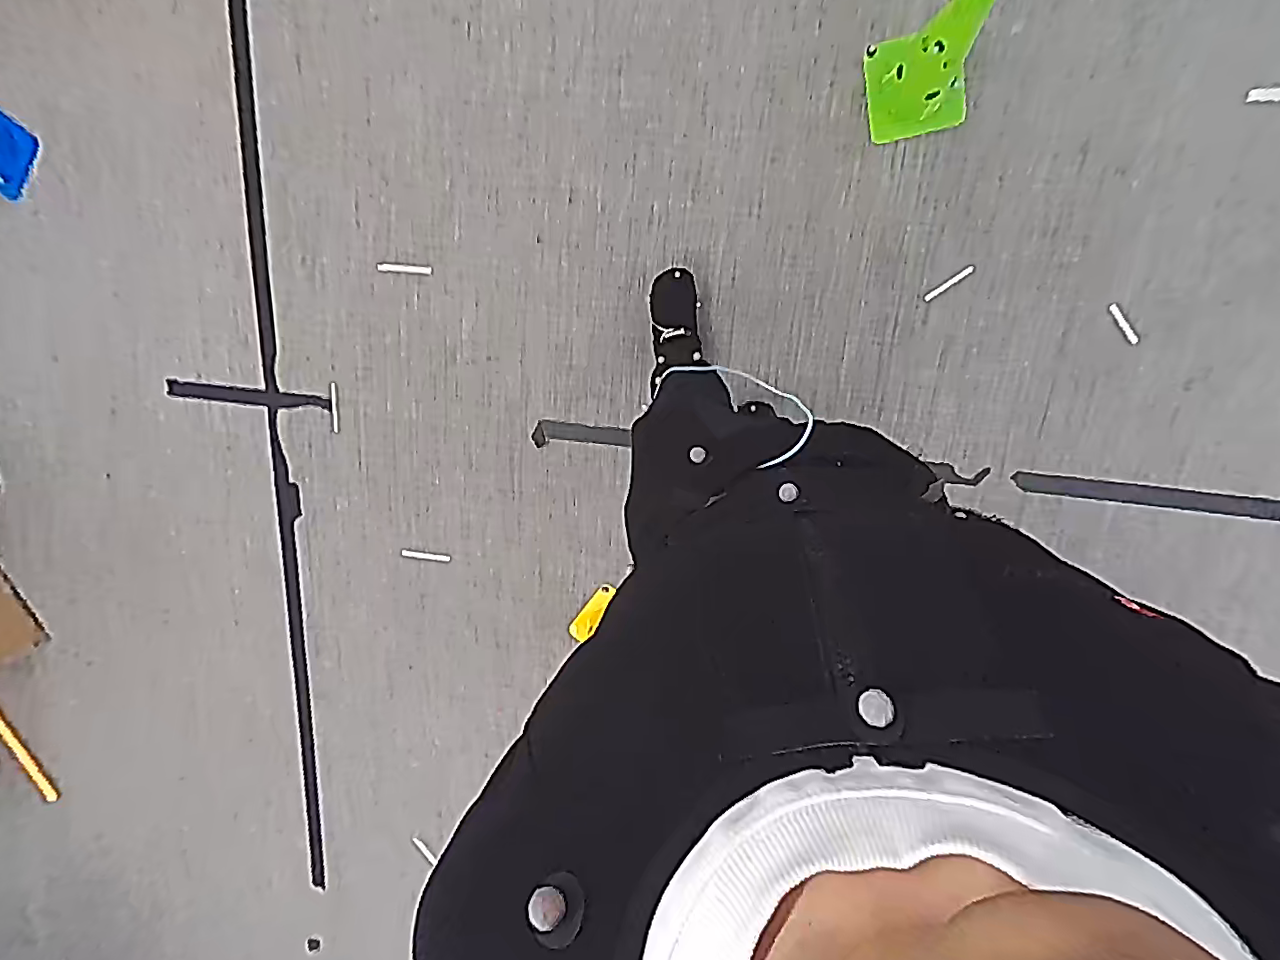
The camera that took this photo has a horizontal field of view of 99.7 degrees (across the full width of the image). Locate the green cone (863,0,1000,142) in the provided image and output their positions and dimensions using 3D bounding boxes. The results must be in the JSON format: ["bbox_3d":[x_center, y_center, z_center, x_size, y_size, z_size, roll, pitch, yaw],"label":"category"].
[{"bbox_3d":[0.578,-0.824,1.013,0.202,0.368,0.200,-10,101,9],"label":"green cone"}]
